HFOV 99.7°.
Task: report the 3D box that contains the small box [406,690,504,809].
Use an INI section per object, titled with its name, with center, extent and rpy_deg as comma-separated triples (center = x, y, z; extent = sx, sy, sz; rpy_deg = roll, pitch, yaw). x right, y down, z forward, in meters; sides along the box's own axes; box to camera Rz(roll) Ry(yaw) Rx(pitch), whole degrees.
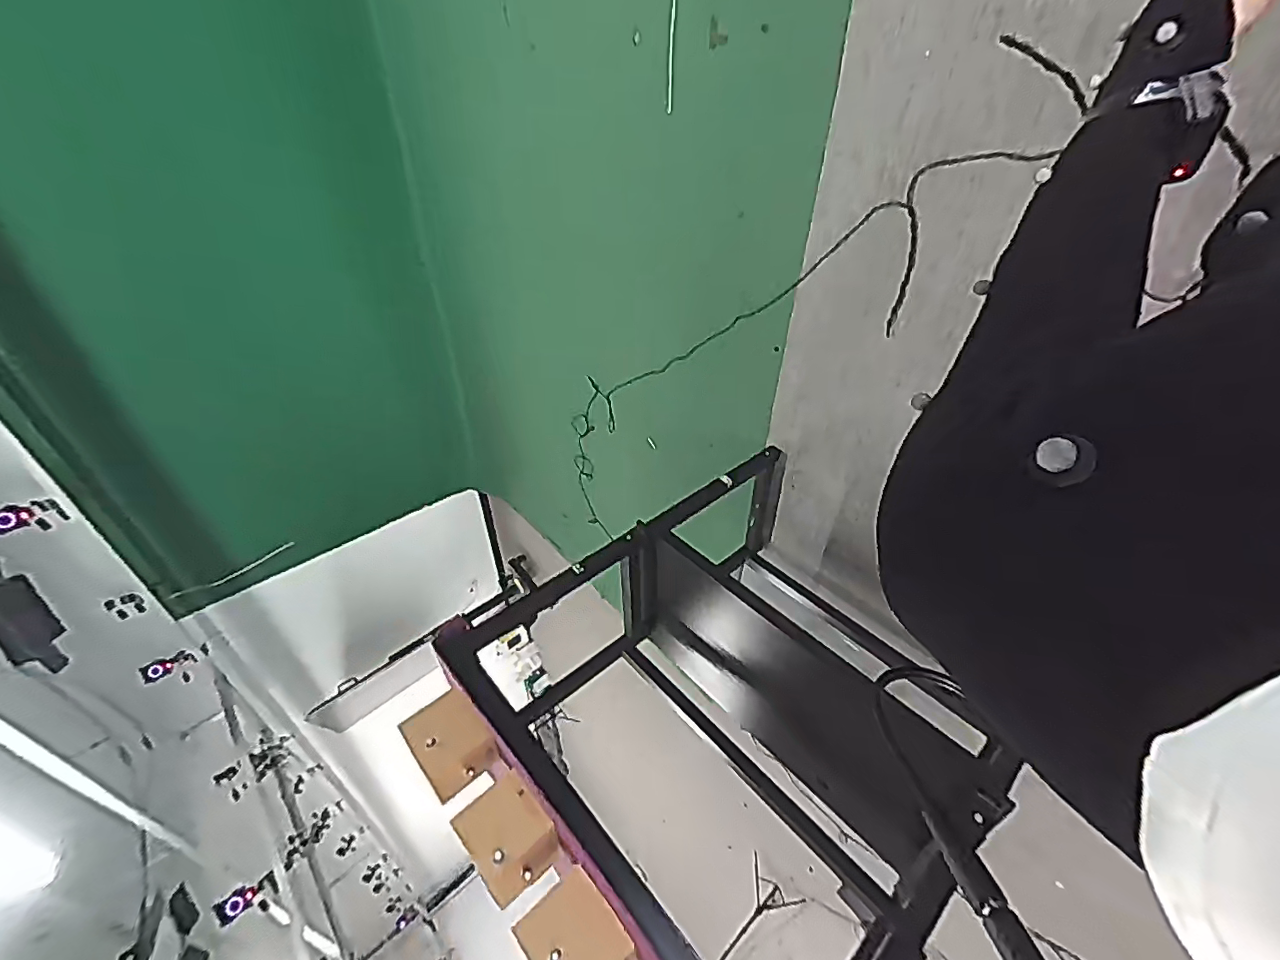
[small box]
center = -0.457, 0.676, 1.369
extent = 0.179, 0.176, 0.168
rpy_deg = 37, 140, 33
